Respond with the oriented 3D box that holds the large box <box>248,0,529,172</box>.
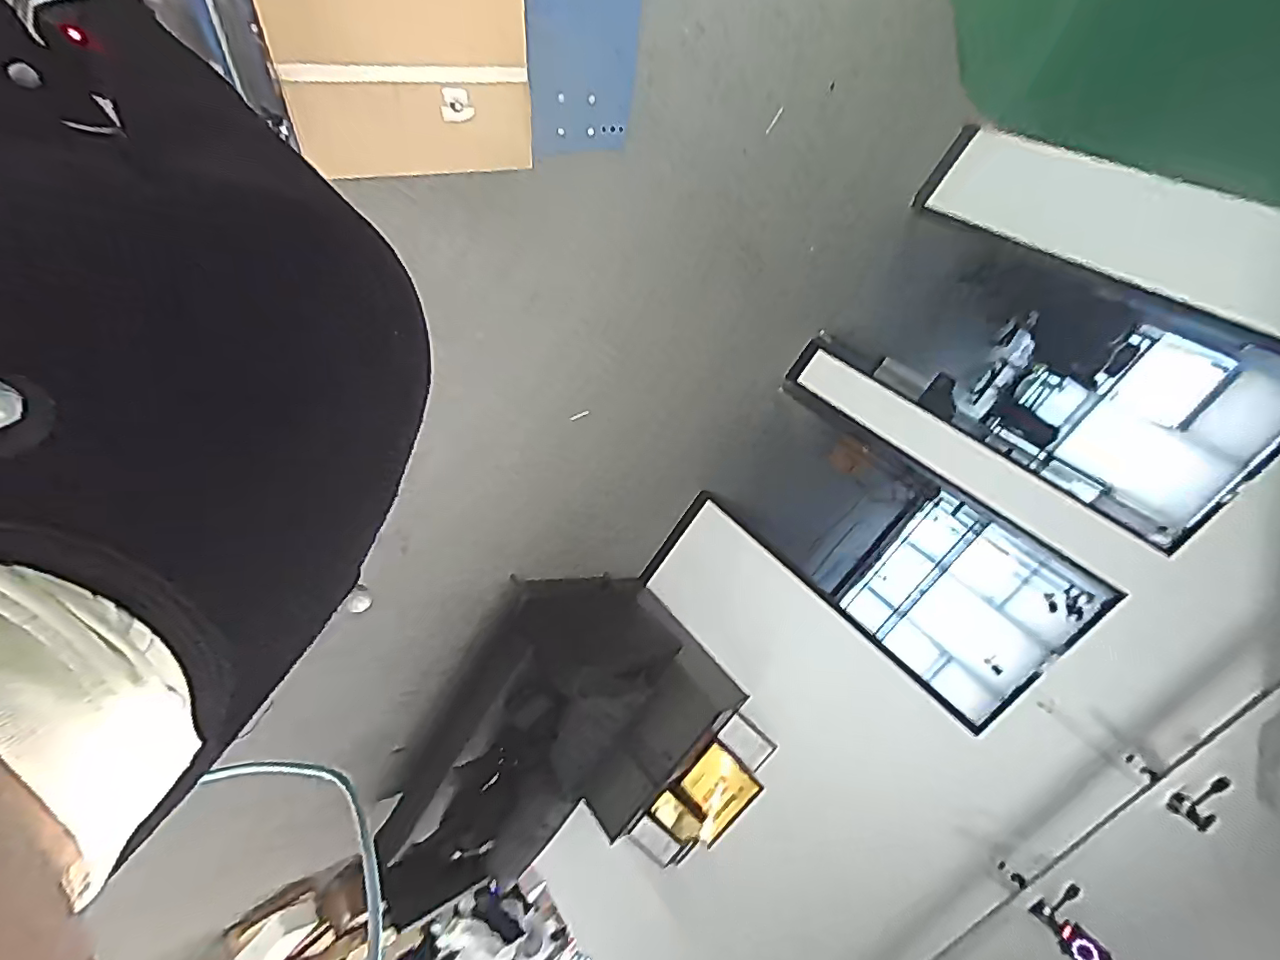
[{"bbox_3d":[-0.452,-0.786,0.978,0.408,0.320,0.320,-18,141,-24],"label":"large box"}]
